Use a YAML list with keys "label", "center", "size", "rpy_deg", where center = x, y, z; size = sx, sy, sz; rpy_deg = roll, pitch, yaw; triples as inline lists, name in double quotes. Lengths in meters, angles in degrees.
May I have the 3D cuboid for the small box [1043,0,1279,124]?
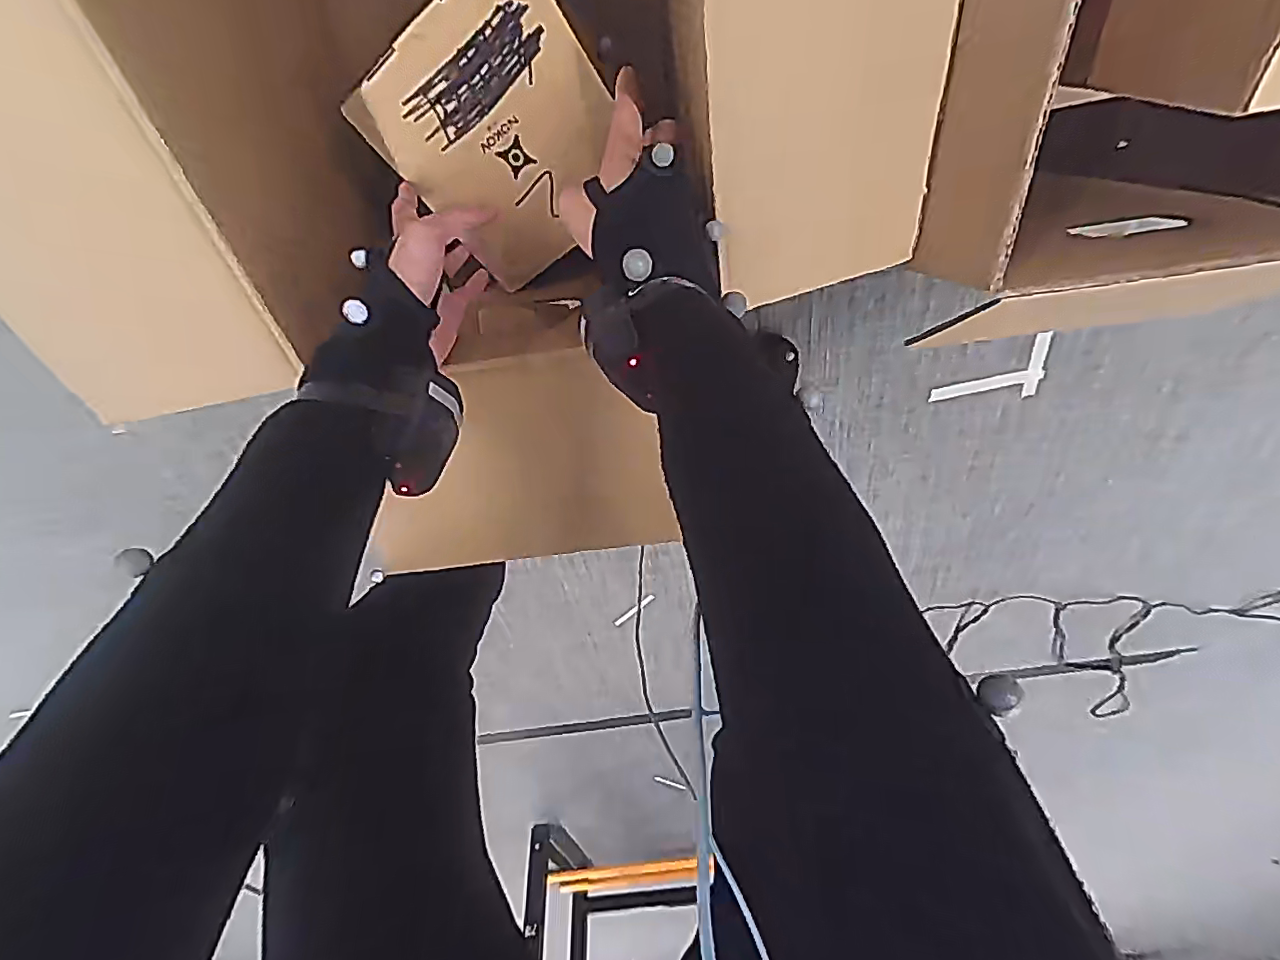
- label: "small box"
  center: [0.371, -0.307, 0.279]
  size: [0.179, 0.176, 0.168]
  rpy_deg: [-8, 132, 2]
